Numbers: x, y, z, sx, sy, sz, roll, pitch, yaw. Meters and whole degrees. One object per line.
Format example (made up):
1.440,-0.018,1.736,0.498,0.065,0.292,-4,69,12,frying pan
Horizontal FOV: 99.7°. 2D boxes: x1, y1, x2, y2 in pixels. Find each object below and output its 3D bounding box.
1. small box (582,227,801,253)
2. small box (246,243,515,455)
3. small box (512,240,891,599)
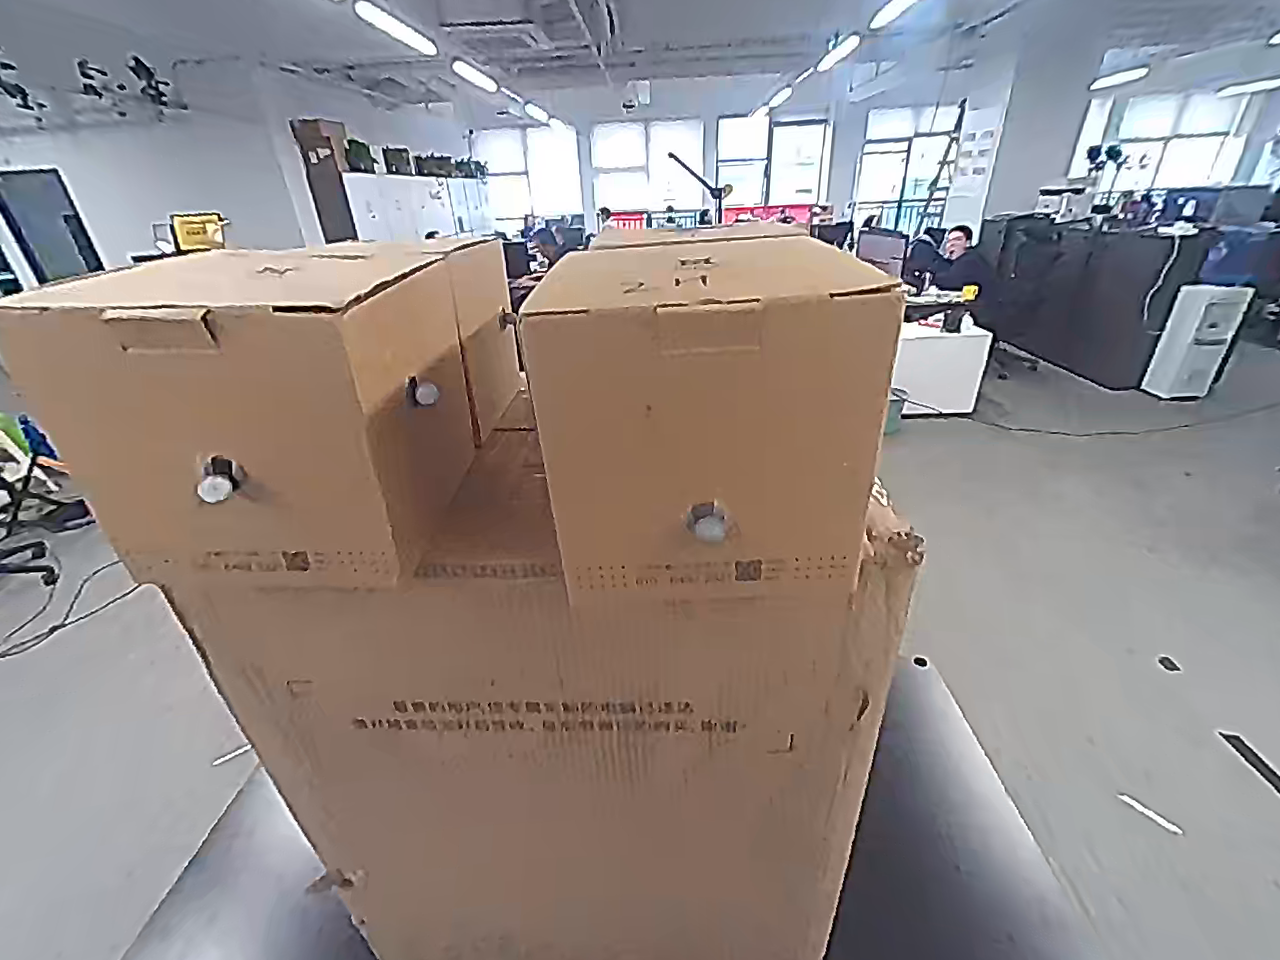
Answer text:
0.044,-0.139,0.508,0.168,0.176,0.179,-3,27,2,small box
-0.227,-0.134,0.533,0.168,0.176,0.179,-2,28,2,small box
0.032,-0.046,0.342,0.168,0.176,0.179,-3,31,4,small box
